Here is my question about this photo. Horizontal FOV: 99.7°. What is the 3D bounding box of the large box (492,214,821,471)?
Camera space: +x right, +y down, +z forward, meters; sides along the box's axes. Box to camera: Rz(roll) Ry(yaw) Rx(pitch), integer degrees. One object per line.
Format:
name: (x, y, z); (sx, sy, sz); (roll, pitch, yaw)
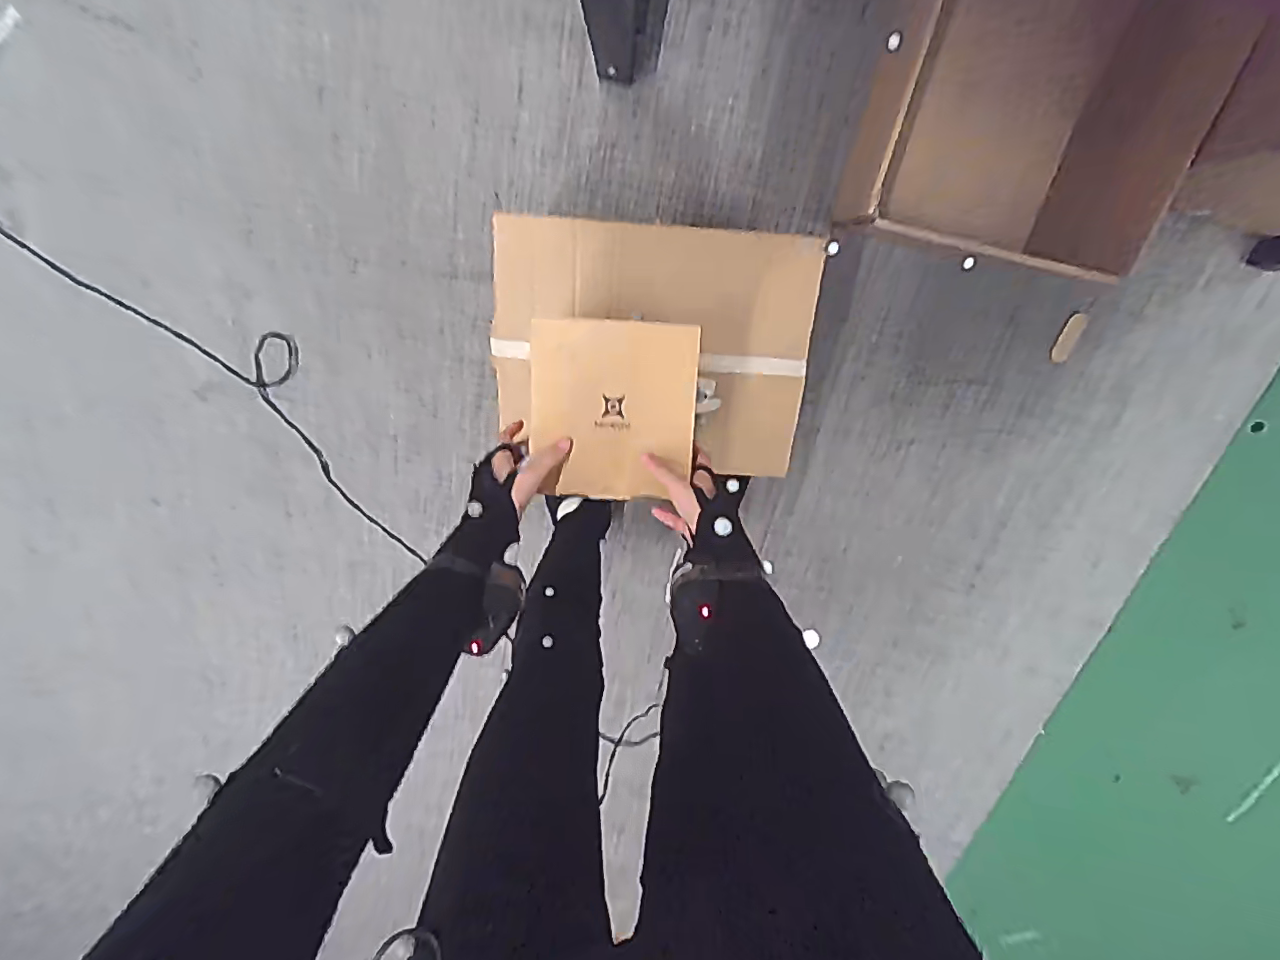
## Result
large box: (0.011, -0.215, 0.837); (0.408, 0.320, 0.320); (3, 112, -2)
